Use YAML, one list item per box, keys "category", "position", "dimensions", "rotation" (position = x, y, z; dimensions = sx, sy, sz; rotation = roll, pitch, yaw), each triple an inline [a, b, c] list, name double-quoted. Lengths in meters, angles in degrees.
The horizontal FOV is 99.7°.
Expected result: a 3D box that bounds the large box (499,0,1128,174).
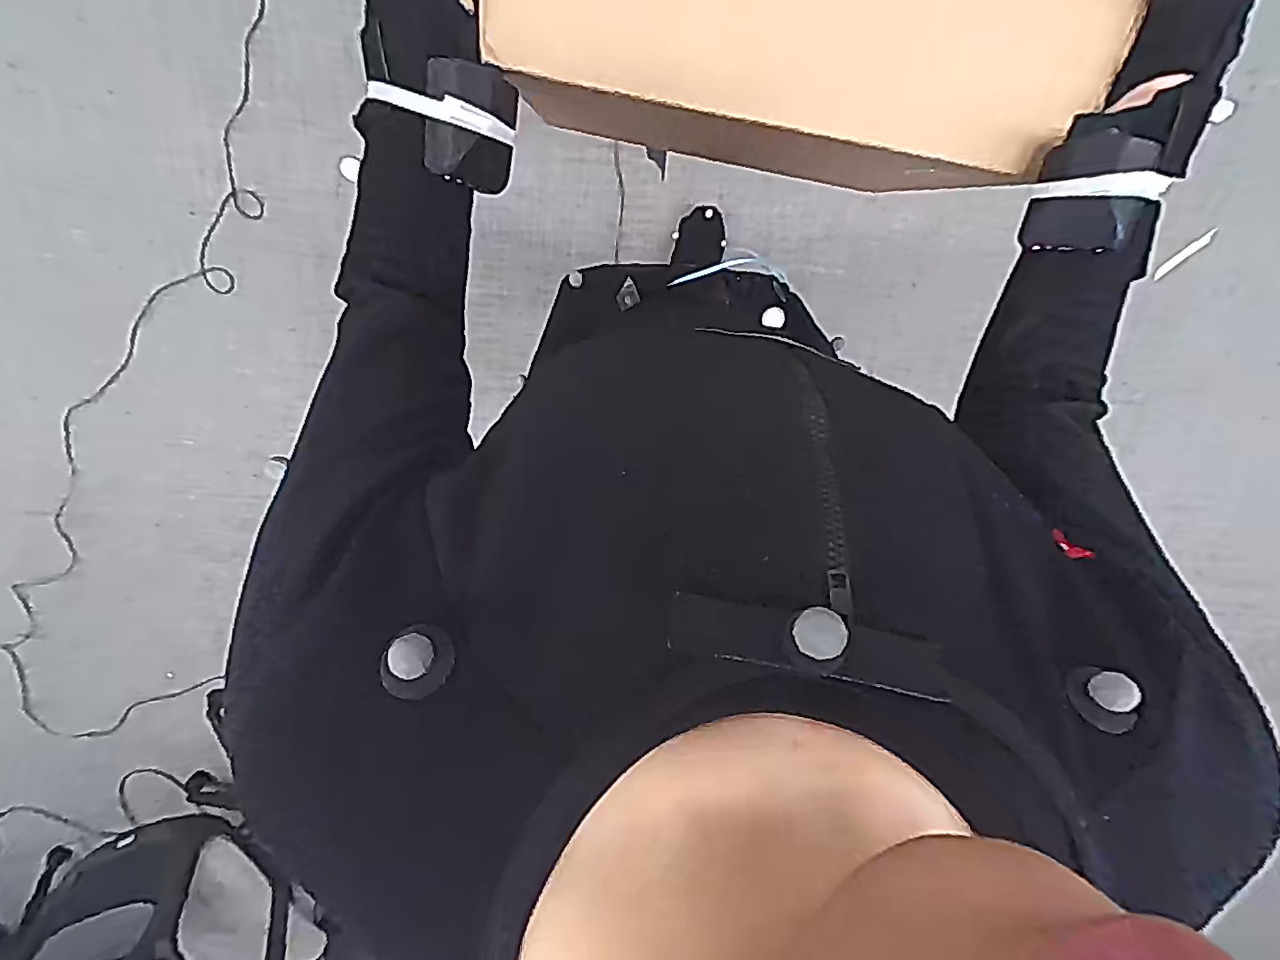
- category: "large box"
  position: [0.118, -0.454, 0.428]
  dimensions: [0.408, 0.320, 0.320]
  rotation: [7, 118, -7]
